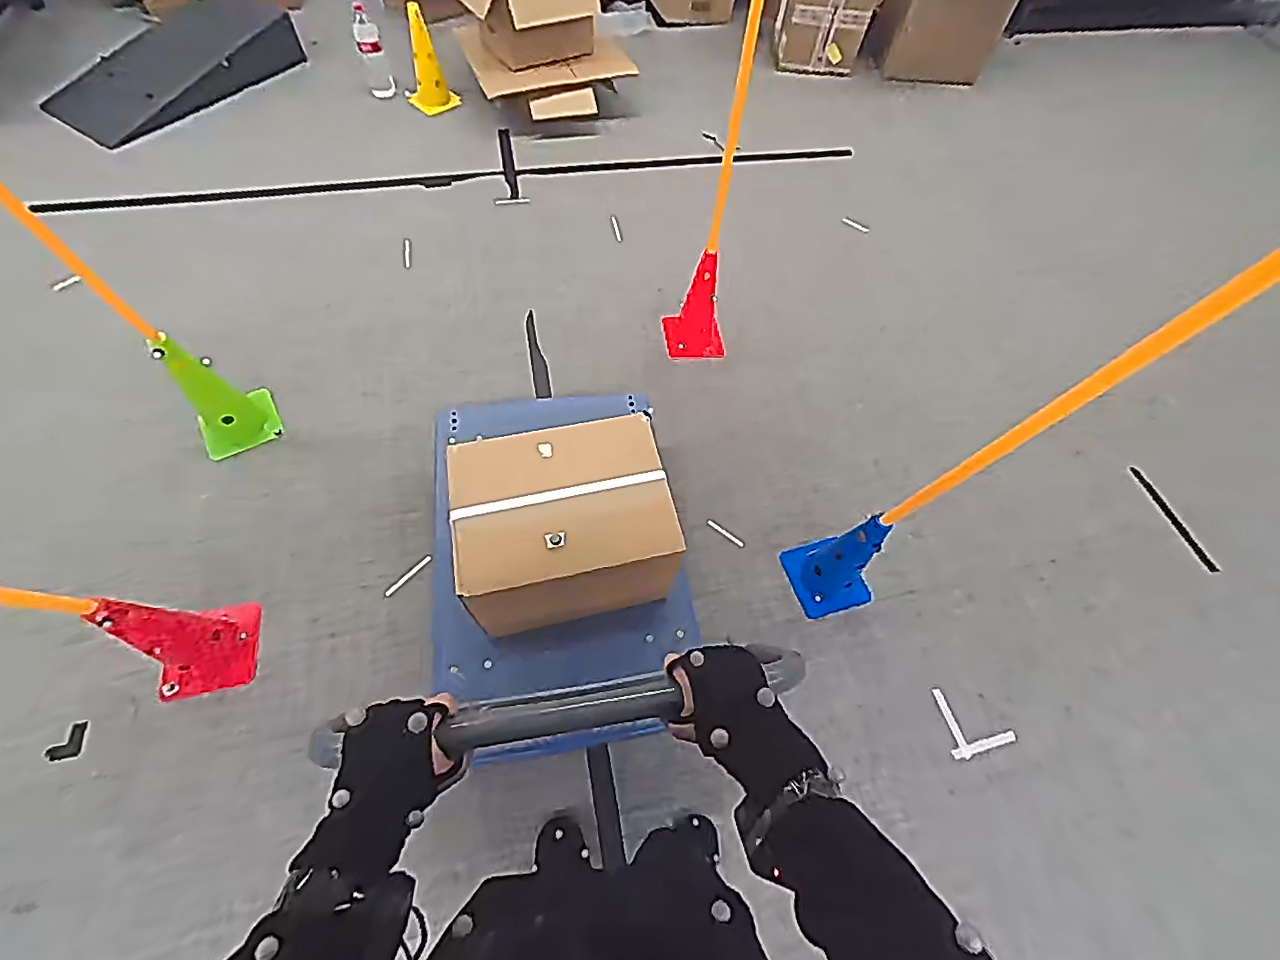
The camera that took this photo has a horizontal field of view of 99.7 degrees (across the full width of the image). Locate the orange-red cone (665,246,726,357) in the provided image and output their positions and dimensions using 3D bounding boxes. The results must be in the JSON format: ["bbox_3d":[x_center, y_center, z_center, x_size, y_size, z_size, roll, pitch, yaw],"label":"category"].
[{"bbox_3d":[0.204,-0.588,1.733,0.199,0.360,0.198,-3,62,-7],"label":"orange-red cone"}]

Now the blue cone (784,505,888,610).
[{"bbox_3d":[0.522,0.173,1.346,0.193,0.380,0.192,-13,61,-12],"label":"blue cone"}]
